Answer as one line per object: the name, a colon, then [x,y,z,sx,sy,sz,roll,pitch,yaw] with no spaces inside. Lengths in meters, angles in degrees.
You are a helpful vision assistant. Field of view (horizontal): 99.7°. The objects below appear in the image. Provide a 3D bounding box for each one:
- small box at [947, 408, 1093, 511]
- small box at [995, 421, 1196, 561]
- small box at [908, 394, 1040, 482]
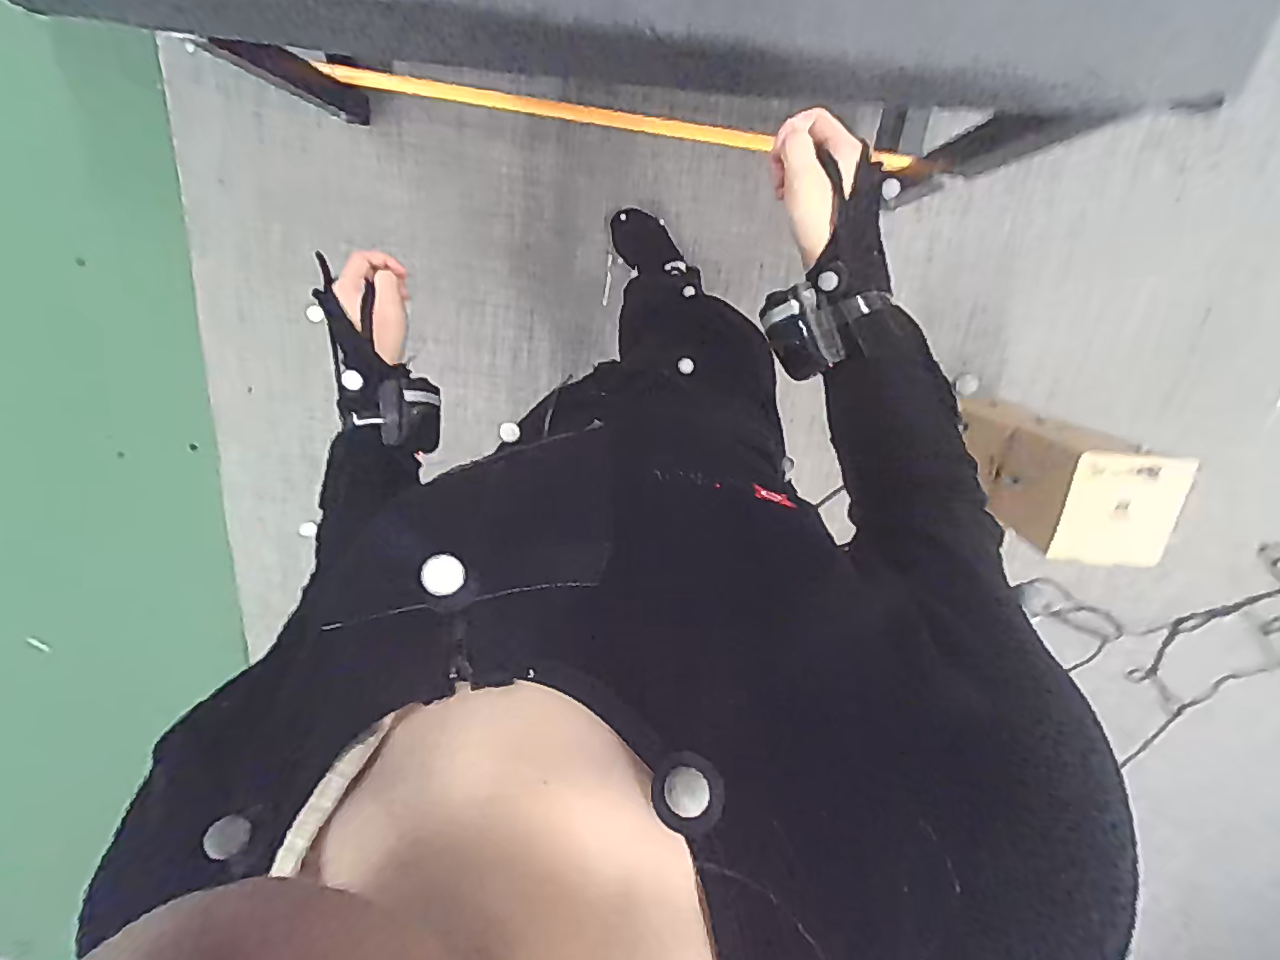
small box: [0.730,-0.040,1.042,0.179,0.176,0.168,3,109,2]
small box: [0.724,0.012,0.887,0.168,0.176,0.179,4,110,2]
small box: [0.729,-0.095,1.197,0.179,0.176,0.168,3,108,3]
